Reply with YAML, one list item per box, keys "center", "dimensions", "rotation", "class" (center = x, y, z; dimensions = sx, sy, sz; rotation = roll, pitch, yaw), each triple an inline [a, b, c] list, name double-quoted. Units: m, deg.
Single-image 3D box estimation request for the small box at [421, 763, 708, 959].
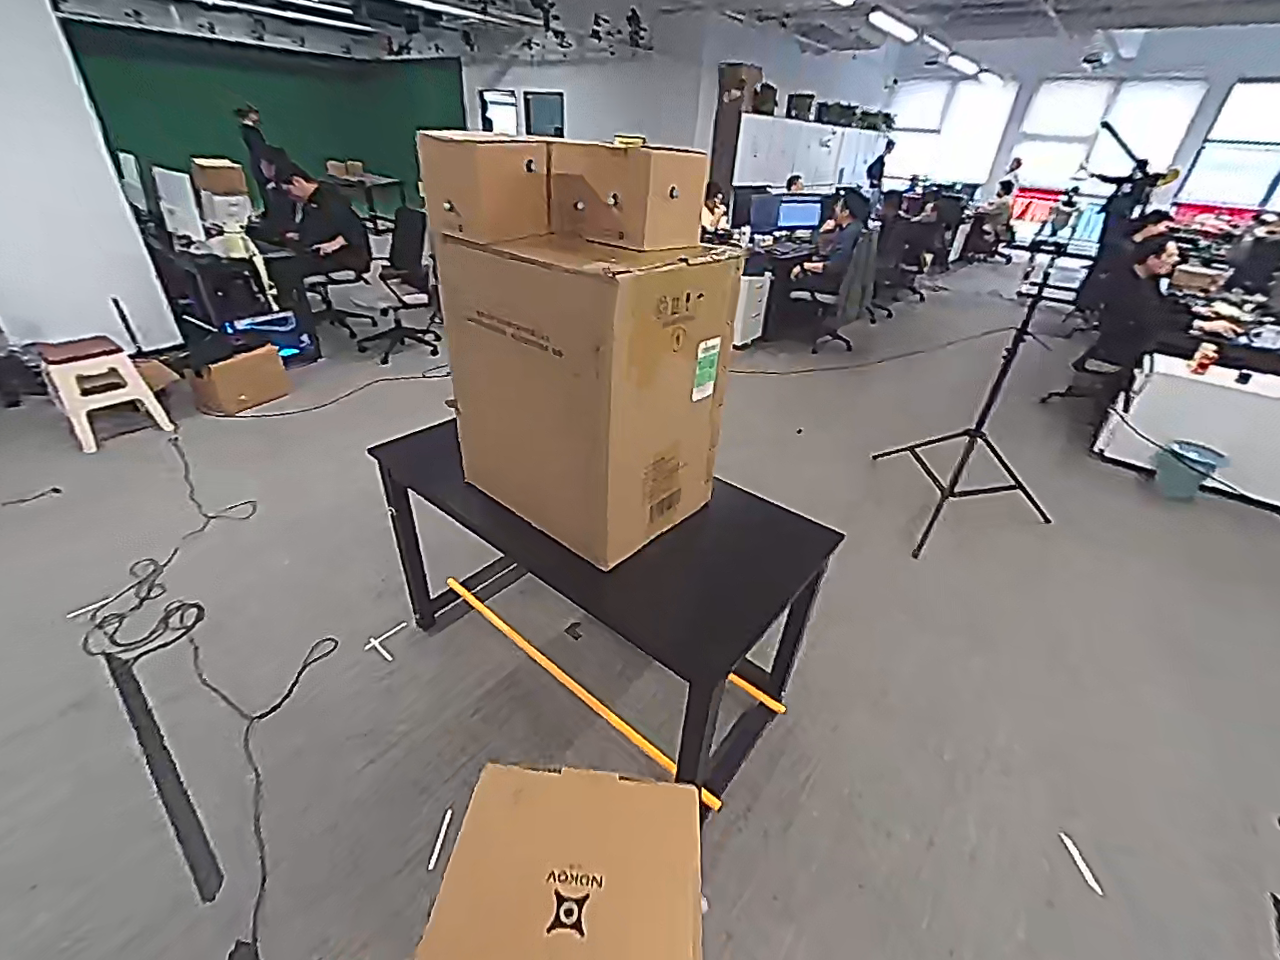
- center: [-0.047, 0.335, 0.371]
  dimensions: [0.168, 0.176, 0.179]
  rotation: [6, 28, 2]
  class: "small box"
